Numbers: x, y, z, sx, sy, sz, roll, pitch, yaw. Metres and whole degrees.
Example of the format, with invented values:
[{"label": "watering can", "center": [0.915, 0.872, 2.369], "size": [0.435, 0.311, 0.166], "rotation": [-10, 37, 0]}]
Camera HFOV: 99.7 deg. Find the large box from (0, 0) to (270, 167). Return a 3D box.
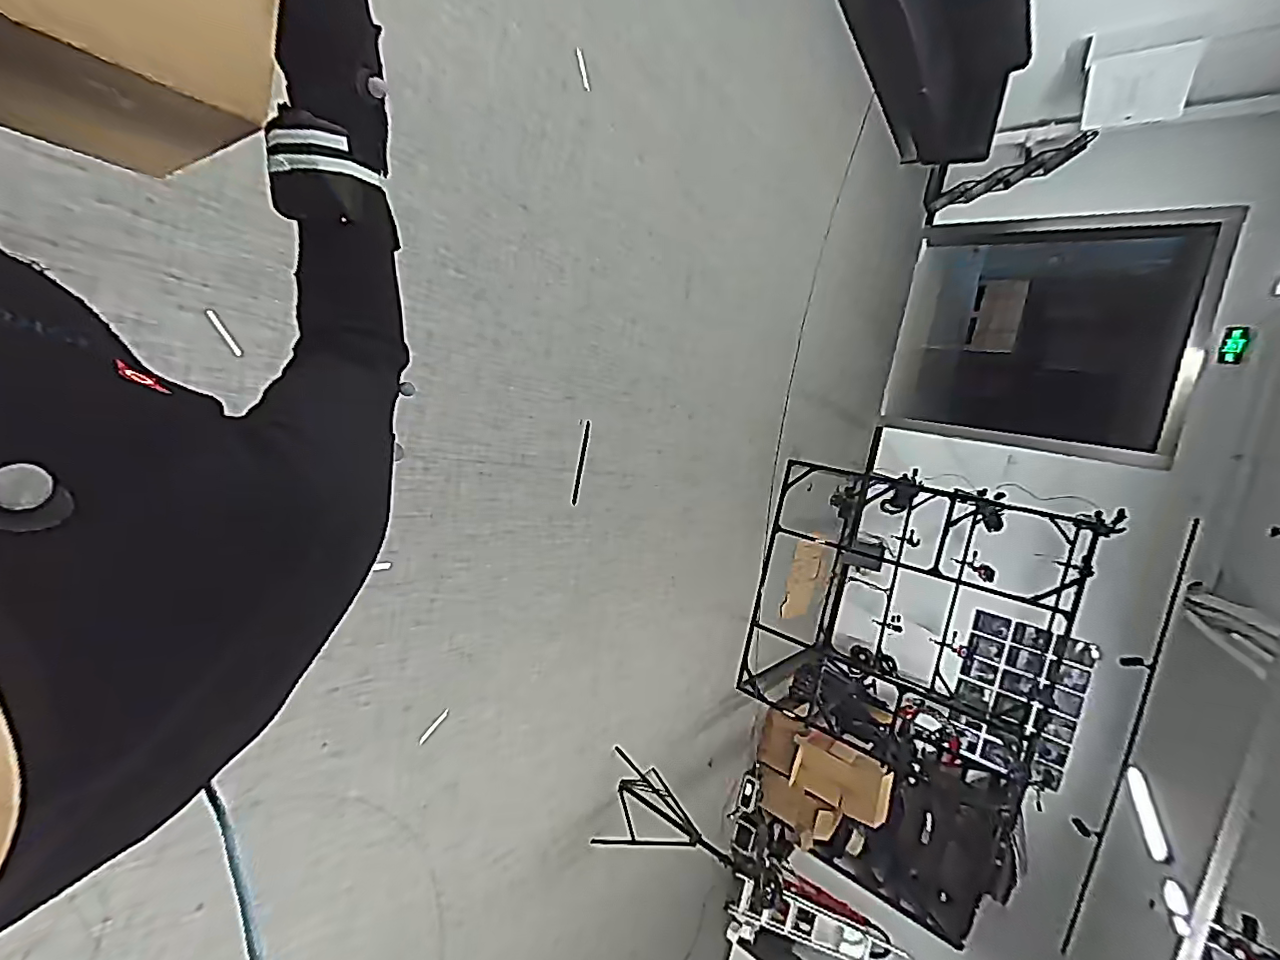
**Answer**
[{"label": "large box", "center": [-0.484, -0.436, 0.299], "size": [0.408, 0.320, 0.320], "rotation": [0, 104, -52]}]
